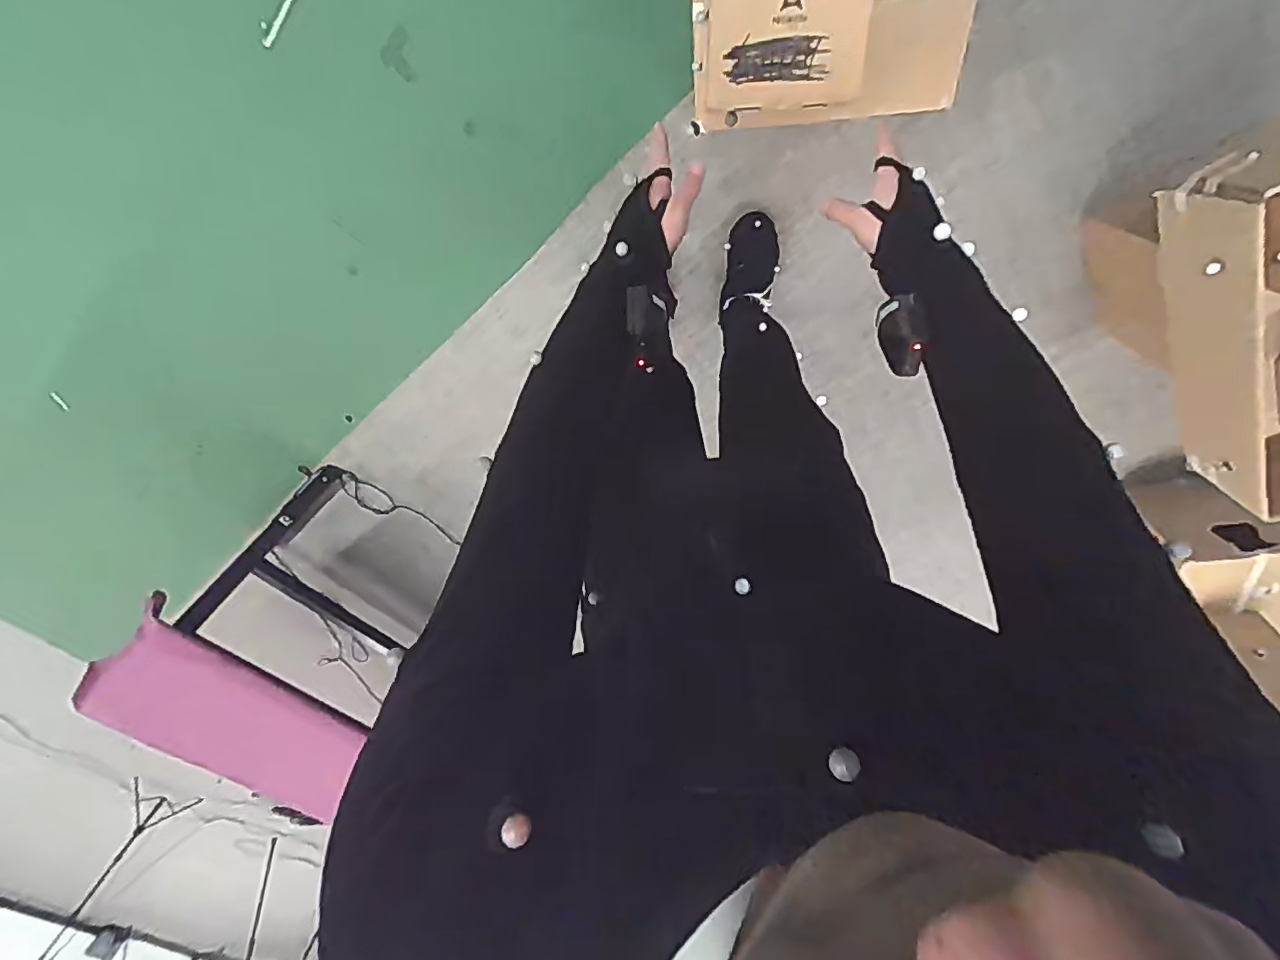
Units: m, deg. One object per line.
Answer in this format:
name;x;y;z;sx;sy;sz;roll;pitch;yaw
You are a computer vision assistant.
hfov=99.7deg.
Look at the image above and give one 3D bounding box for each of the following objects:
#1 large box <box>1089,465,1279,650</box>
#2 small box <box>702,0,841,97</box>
large box;1.550;0.223;1.528;0.320;0.320;0.408;-10;124;14
small box;0.171;-0.636;0.738;0.168;0.176;0.179;0;128;5
